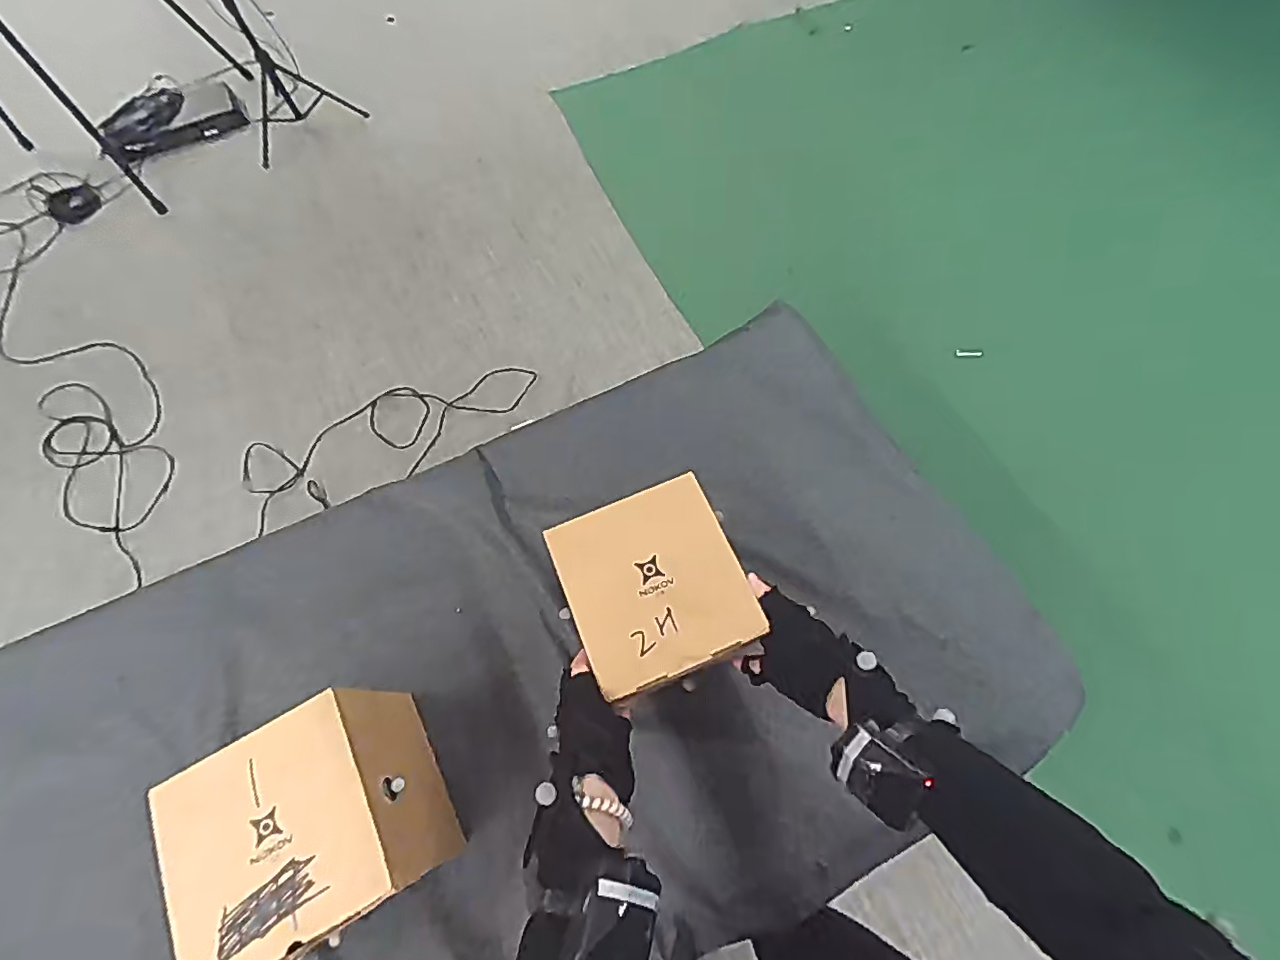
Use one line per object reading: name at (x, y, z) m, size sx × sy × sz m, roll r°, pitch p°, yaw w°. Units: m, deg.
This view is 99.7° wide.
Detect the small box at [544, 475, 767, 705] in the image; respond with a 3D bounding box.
small box at (0.013, 0.127, 0.585) m, size 0.168 × 0.176 × 0.179 m, roll -22°, pitch 67°, yaw -6°

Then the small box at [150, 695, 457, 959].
small box at (-0.302, 0.327, 0.516) m, size 0.168 × 0.176 × 0.179 m, roll -29°, pitch 68°, yaw -10°
